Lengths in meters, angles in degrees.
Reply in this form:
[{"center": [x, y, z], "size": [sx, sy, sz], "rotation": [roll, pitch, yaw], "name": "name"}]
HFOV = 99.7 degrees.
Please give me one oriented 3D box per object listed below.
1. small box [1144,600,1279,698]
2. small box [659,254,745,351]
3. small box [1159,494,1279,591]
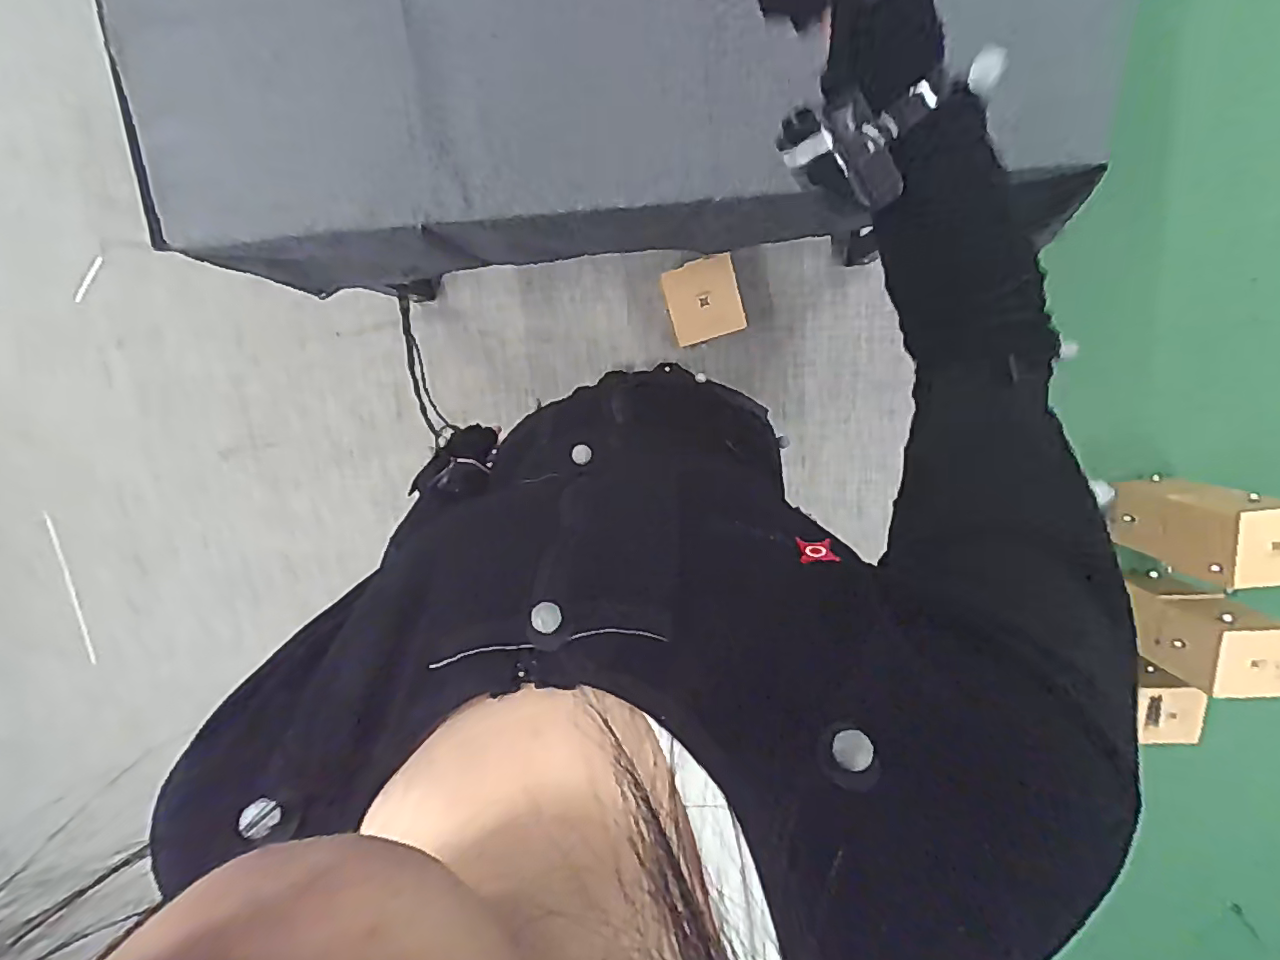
[{"center": [1.363, 0.395, 1.285], "size": [0.179, 0.176, 0.168], "rotation": [-3, 103, 2], "name": "small box"}, {"center": [0.144, -0.422, 1.315], "size": [0.168, 0.176, 0.179], "rotation": [-16, 100, 5], "name": "small box"}, {"center": [1.343, 0.134, 1.233], "size": [0.168, 0.176, 0.179], "rotation": [-6, 102, 3], "name": "small box"}]
